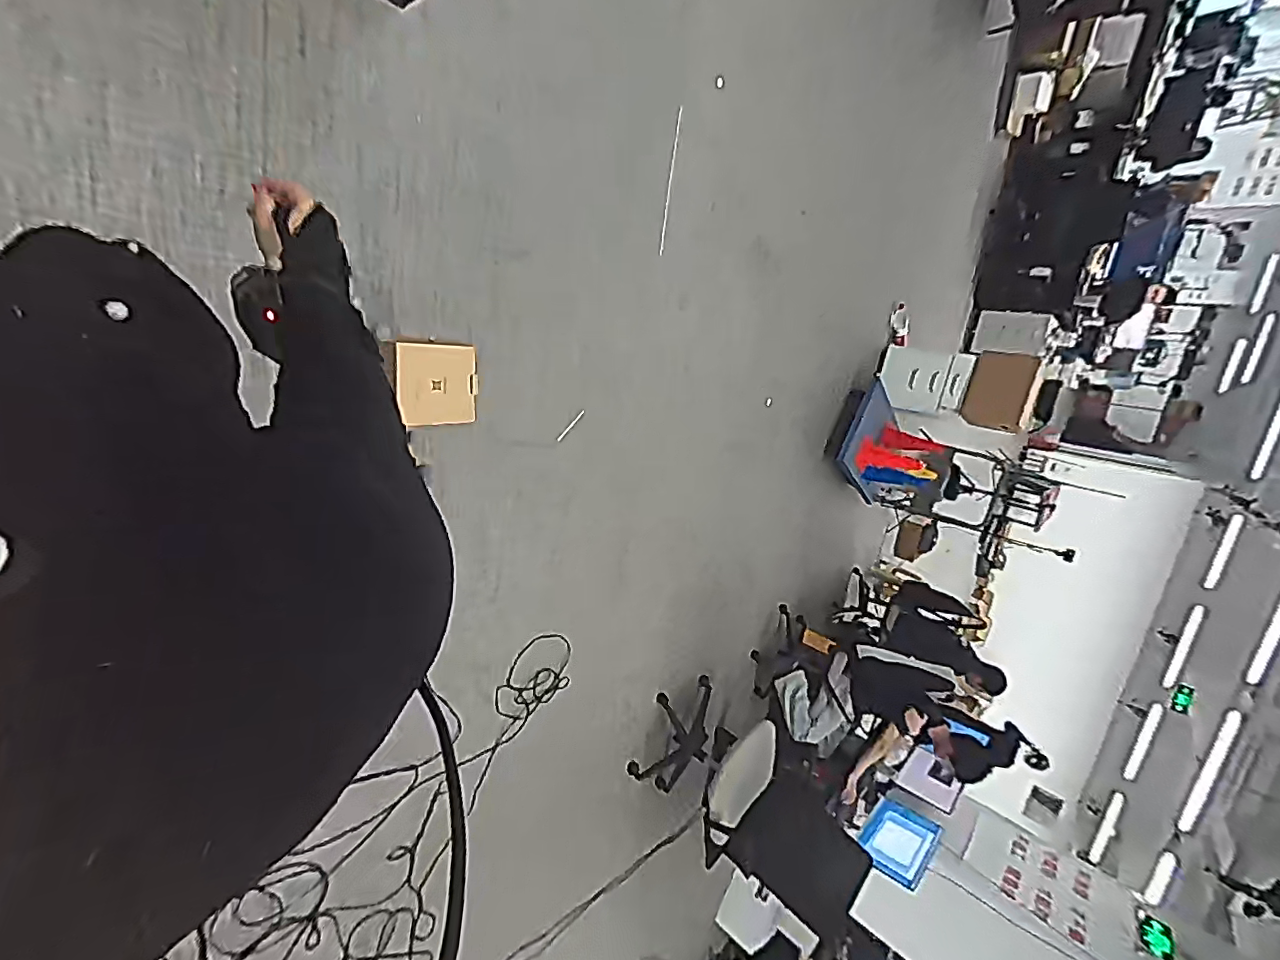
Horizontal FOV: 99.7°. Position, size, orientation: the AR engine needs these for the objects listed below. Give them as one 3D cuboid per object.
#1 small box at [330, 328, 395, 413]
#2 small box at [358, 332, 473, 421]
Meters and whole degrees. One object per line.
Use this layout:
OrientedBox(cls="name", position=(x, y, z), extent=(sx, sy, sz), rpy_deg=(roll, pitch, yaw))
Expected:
OrientedBox(cls="small box", position=(-0.606, -0.257, 1.262), extent=(0.168, 0.176, 0.179), rpy_deg=(-11, 113, -47))
OrientedBox(cls="small box", position=(-0.481, -0.225, 1.161), extent=(0.179, 0.176, 0.168), rpy_deg=(-11, 113, -46))
